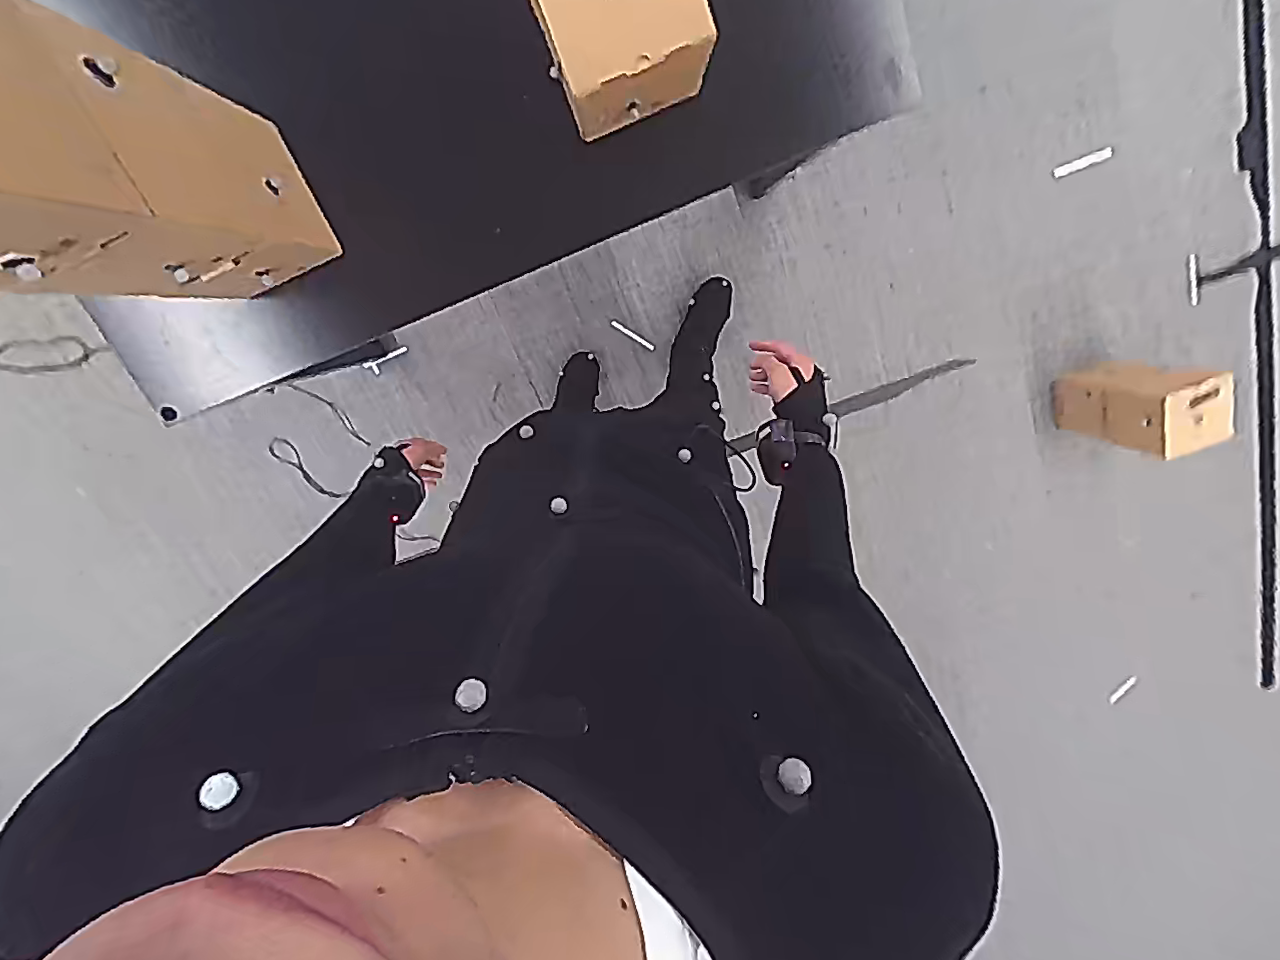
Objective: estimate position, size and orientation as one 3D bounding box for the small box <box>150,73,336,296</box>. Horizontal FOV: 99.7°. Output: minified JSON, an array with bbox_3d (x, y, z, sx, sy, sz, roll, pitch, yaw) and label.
[{"bbox_3d":[-0.521,-0.343,0.666,0.168,0.176,0.179,-23,108,5],"label":"small box"}]

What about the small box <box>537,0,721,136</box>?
[{"bbox_3d":[-0.023,-0.539,0.621,0.168,0.176,0.179,-21,108,5],"label":"small box"}]

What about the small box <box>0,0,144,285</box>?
[{"bbox_3d":[-0.508,-0.243,0.354,0.168,0.176,0.179,-22,108,6],"label":"small box"}]

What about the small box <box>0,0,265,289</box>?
[{"bbox_3d":[-0.515,-0.293,0.508,0.168,0.176,0.179,-22,108,5],"label":"small box"}]

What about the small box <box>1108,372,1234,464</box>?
[{"bbox_3d":[1.351,-0.167,1.385,0.168,0.176,0.179,-20,109,4],"label":"small box"}]
